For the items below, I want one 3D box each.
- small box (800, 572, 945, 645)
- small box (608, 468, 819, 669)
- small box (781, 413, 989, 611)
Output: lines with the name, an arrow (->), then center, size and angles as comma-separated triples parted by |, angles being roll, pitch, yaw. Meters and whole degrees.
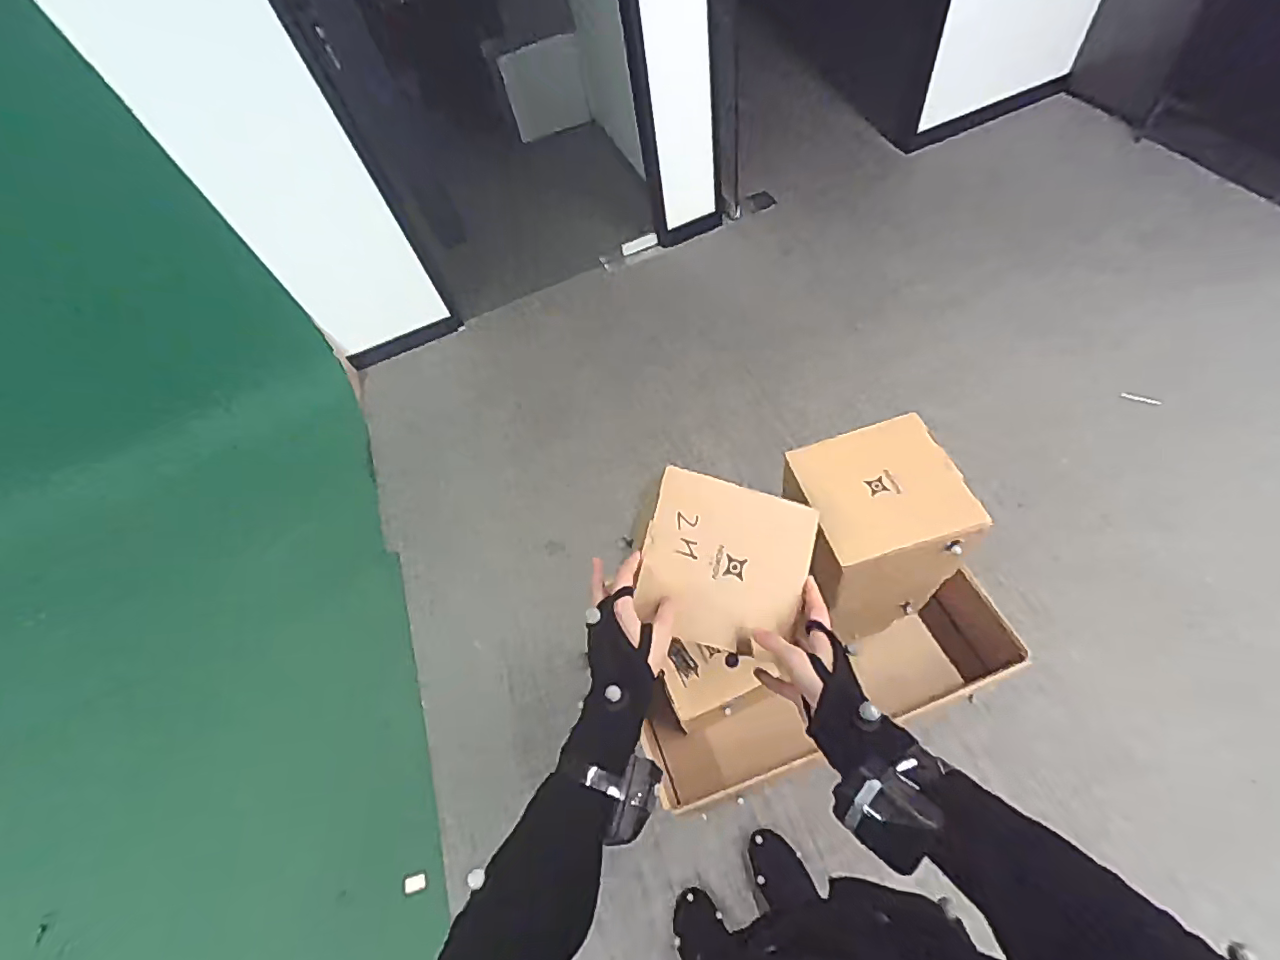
small box -> 0.320, 0.133, 0.830 | 0.179, 0.176, 0.168 | -20, 57, 1
small box -> 0.073, 0.099, 0.616 | 0.179, 0.176, 0.168 | 16, 78, -6
small box -> 0.294, 0.049, 0.694 | 0.179, 0.176, 0.168 | -18, 57, 2
